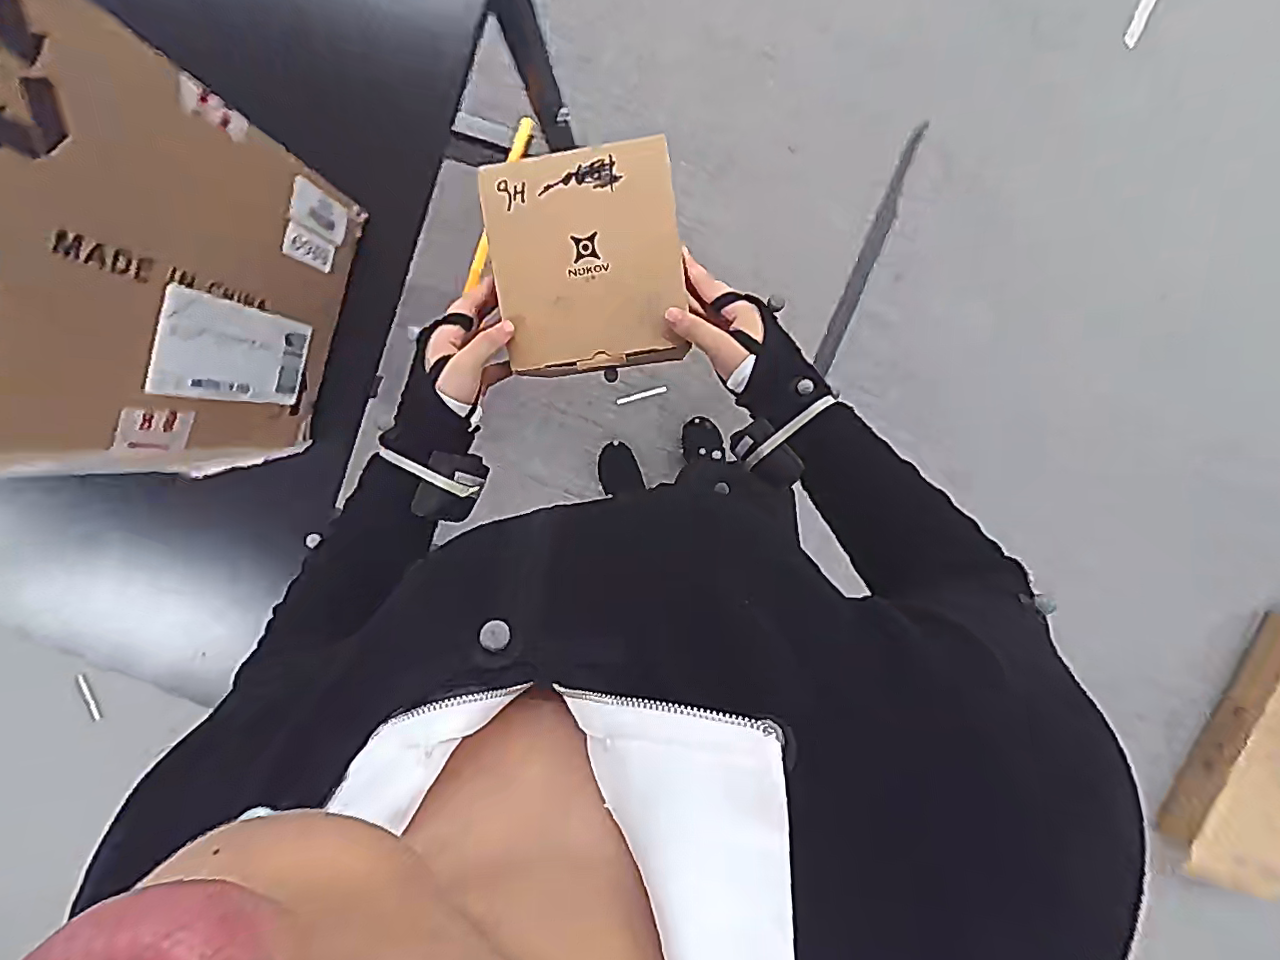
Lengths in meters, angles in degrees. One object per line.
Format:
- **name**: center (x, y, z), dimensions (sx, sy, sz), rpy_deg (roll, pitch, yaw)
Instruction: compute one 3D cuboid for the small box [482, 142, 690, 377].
- **small box**: center (-0.039, -0.202, 0.544), dimensions (0.168, 0.176, 0.179), rpy_deg (-7, 100, 4)
